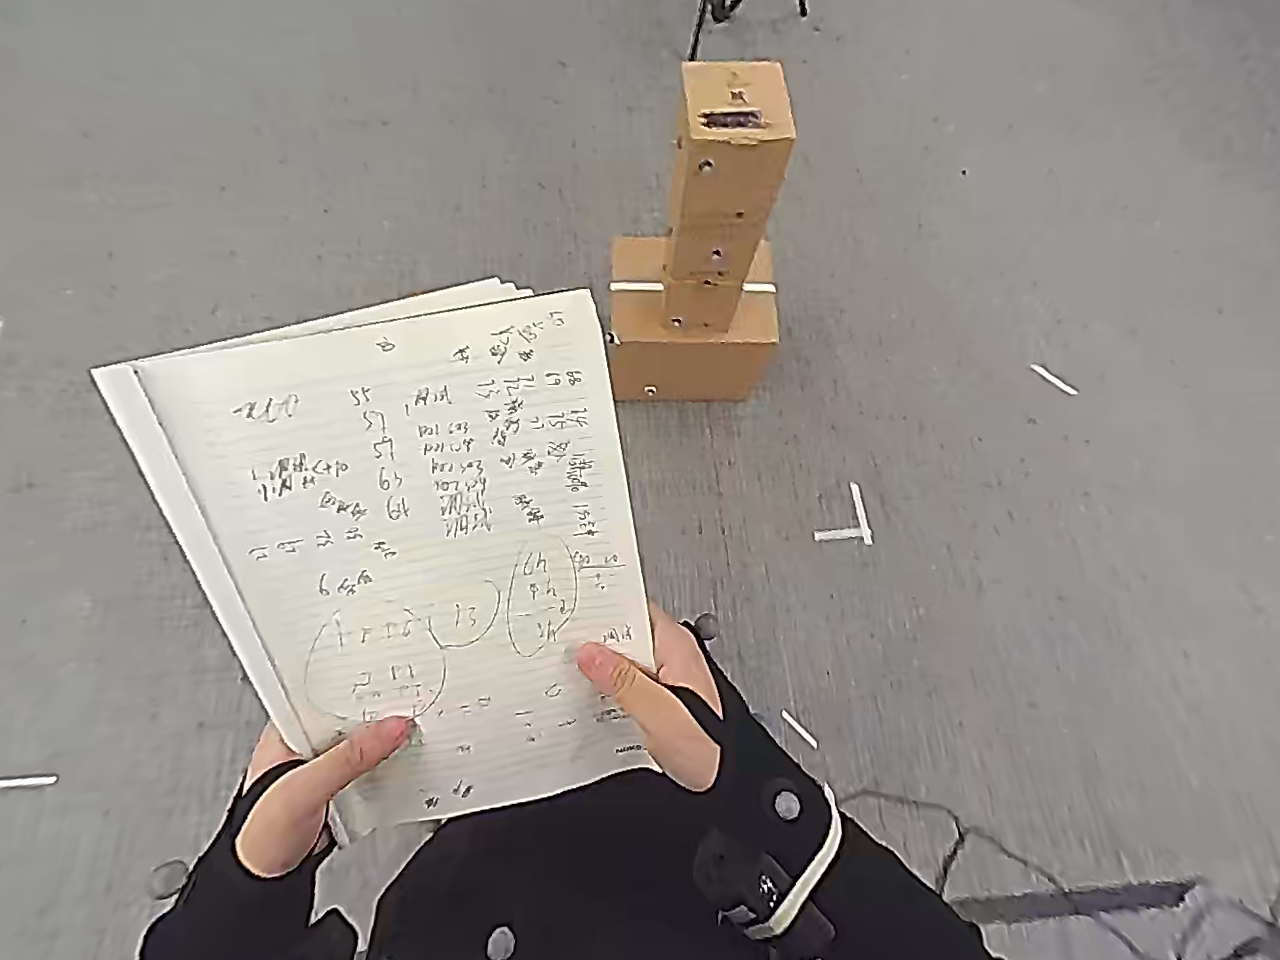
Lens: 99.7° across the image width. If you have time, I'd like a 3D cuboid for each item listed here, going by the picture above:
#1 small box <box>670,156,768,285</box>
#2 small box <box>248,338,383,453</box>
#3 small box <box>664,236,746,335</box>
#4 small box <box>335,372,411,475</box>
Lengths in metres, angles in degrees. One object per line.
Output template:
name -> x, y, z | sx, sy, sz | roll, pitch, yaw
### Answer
small box -> 0.151, -0.514, 1.089 | 0.168, 0.176, 0.179 | 0, 72, -3
small box -> -0.735, -0.184, 1.249 | 0.179, 0.176, 0.168 | 40, 72, 11
small box -> 0.144, -0.451, 1.240 | 0.168, 0.176, 0.179 | 2, 70, -2
small box -> -0.737, -0.139, 1.408 | 0.179, 0.176, 0.168 | 39, 73, 10
